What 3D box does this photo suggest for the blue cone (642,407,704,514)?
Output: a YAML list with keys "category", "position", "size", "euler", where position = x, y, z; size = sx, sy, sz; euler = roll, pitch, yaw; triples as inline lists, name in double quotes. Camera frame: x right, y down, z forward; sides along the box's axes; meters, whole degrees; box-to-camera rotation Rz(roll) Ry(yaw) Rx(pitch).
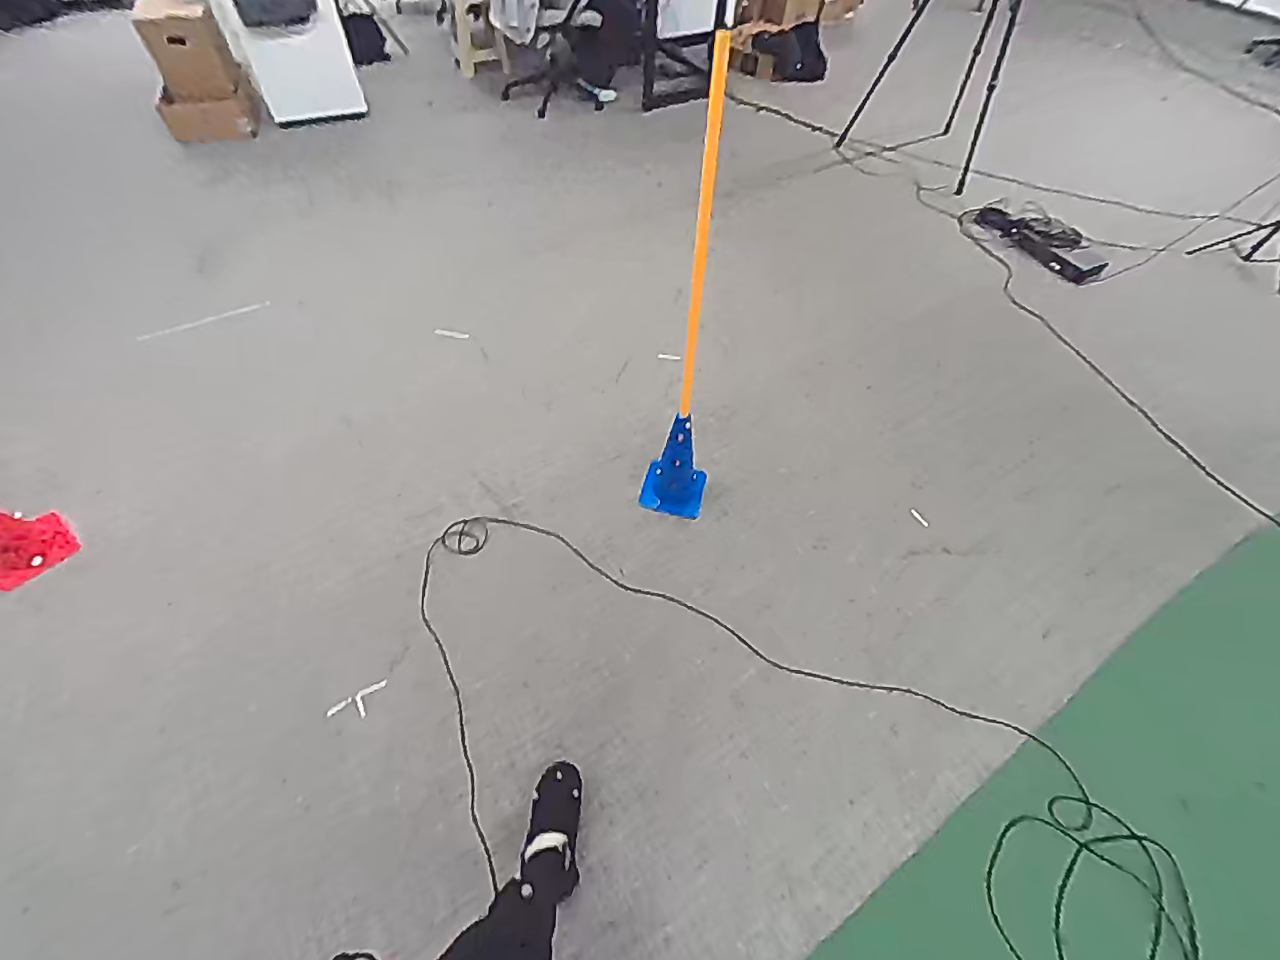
- category: "blue cone"
  position: [0.115, -0.078, 1.641]
  size: [0.192, 0.380, 0.193]
  euler: [12, 53, 6]
